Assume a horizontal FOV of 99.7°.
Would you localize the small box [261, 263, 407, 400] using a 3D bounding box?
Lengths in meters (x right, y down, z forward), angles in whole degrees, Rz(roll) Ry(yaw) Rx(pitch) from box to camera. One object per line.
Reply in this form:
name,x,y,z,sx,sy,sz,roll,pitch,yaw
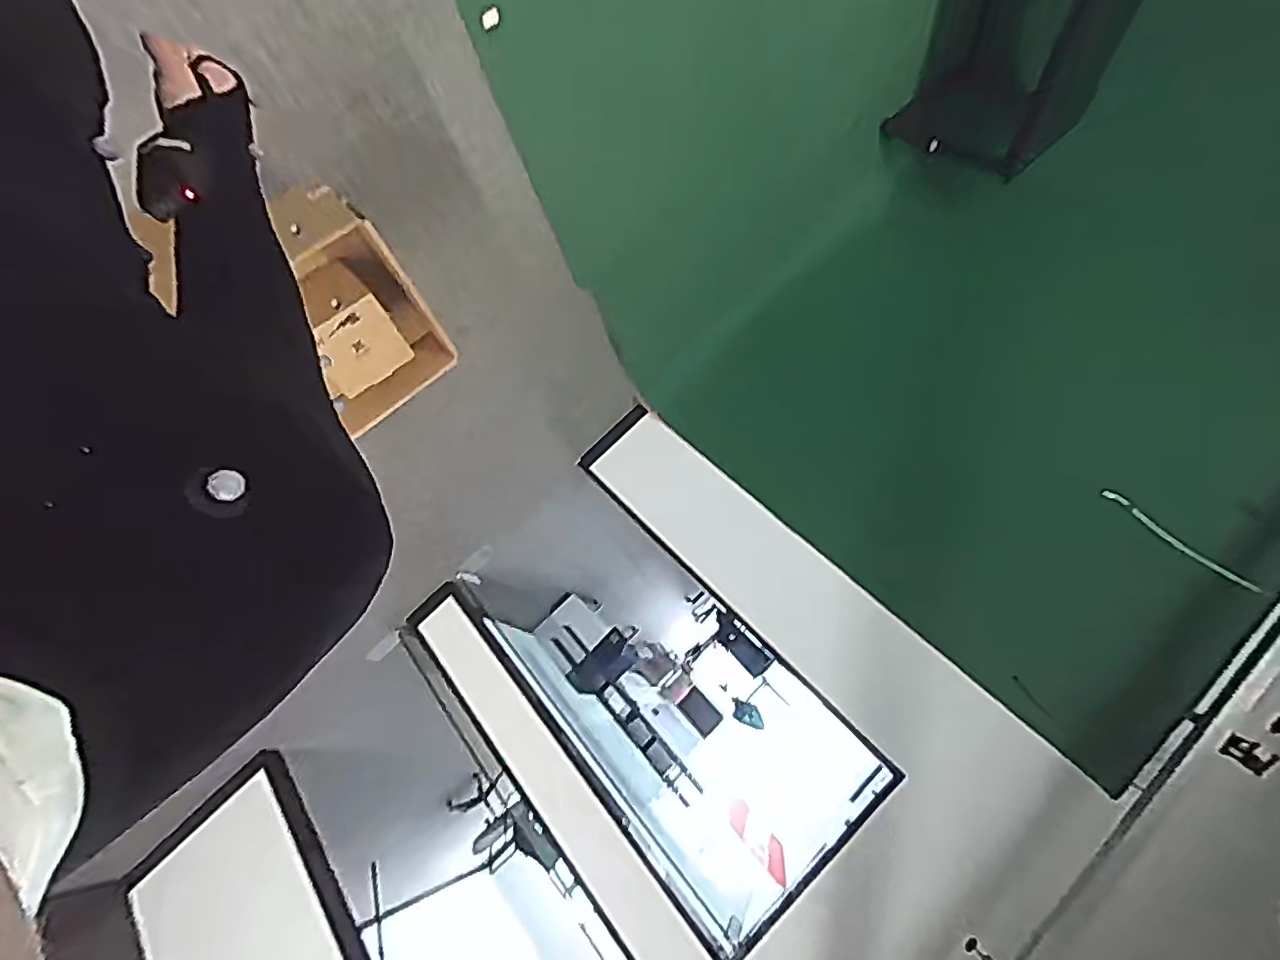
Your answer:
small box,-0.627,-0.308,1.115,0.168,0.176,0.179,-41,154,-15
